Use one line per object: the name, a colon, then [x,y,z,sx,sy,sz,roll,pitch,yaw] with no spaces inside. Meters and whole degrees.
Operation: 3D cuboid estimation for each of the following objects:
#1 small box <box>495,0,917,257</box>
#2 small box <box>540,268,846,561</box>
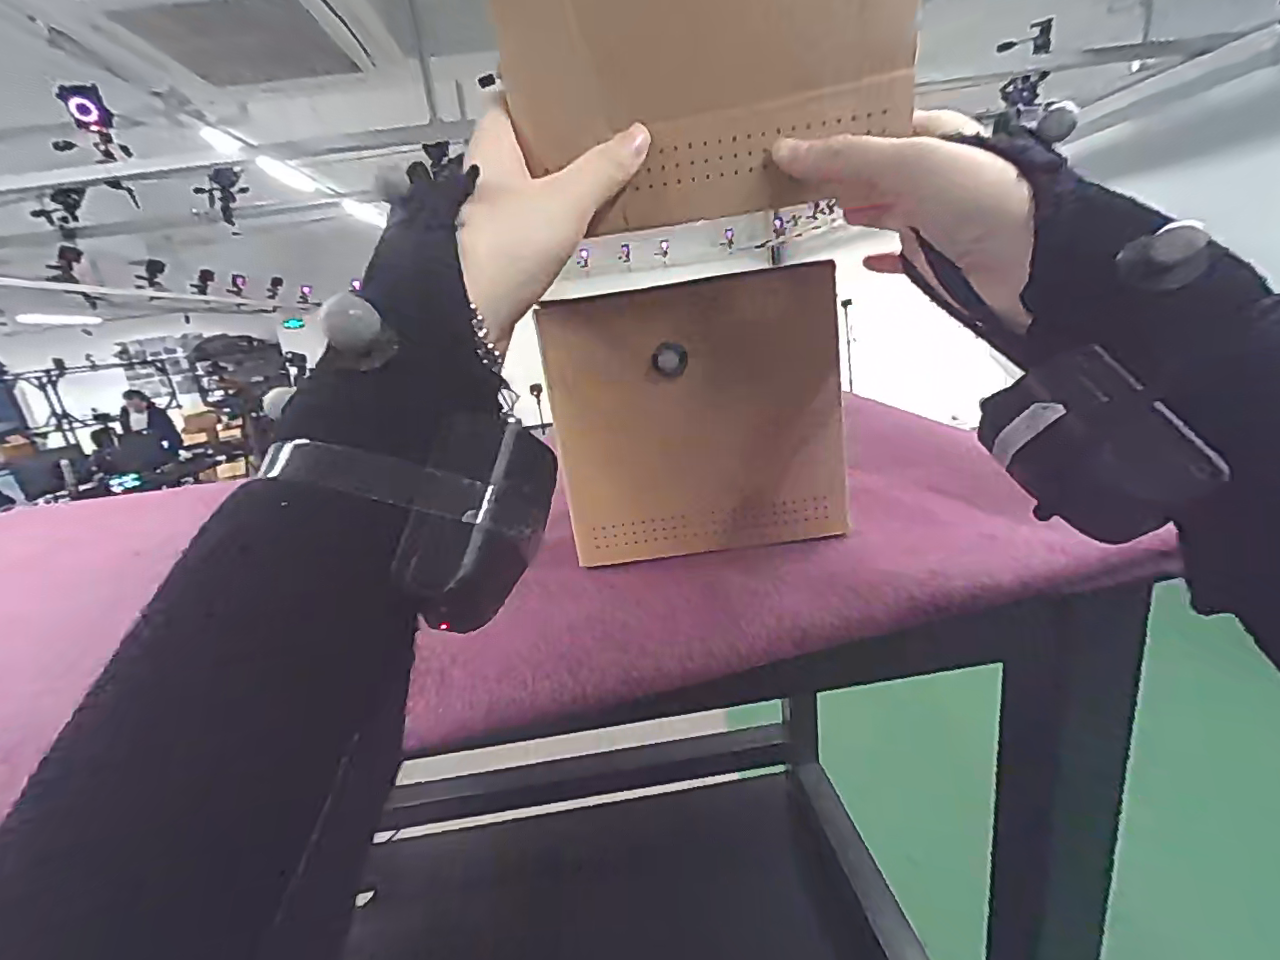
small box: [0.027,-0.219,0.281,0.179,0.176,0.168,-7,27,3]
small box: [0.041,-0.048,0.405,0.179,0.176,0.168,-7,14,4]
